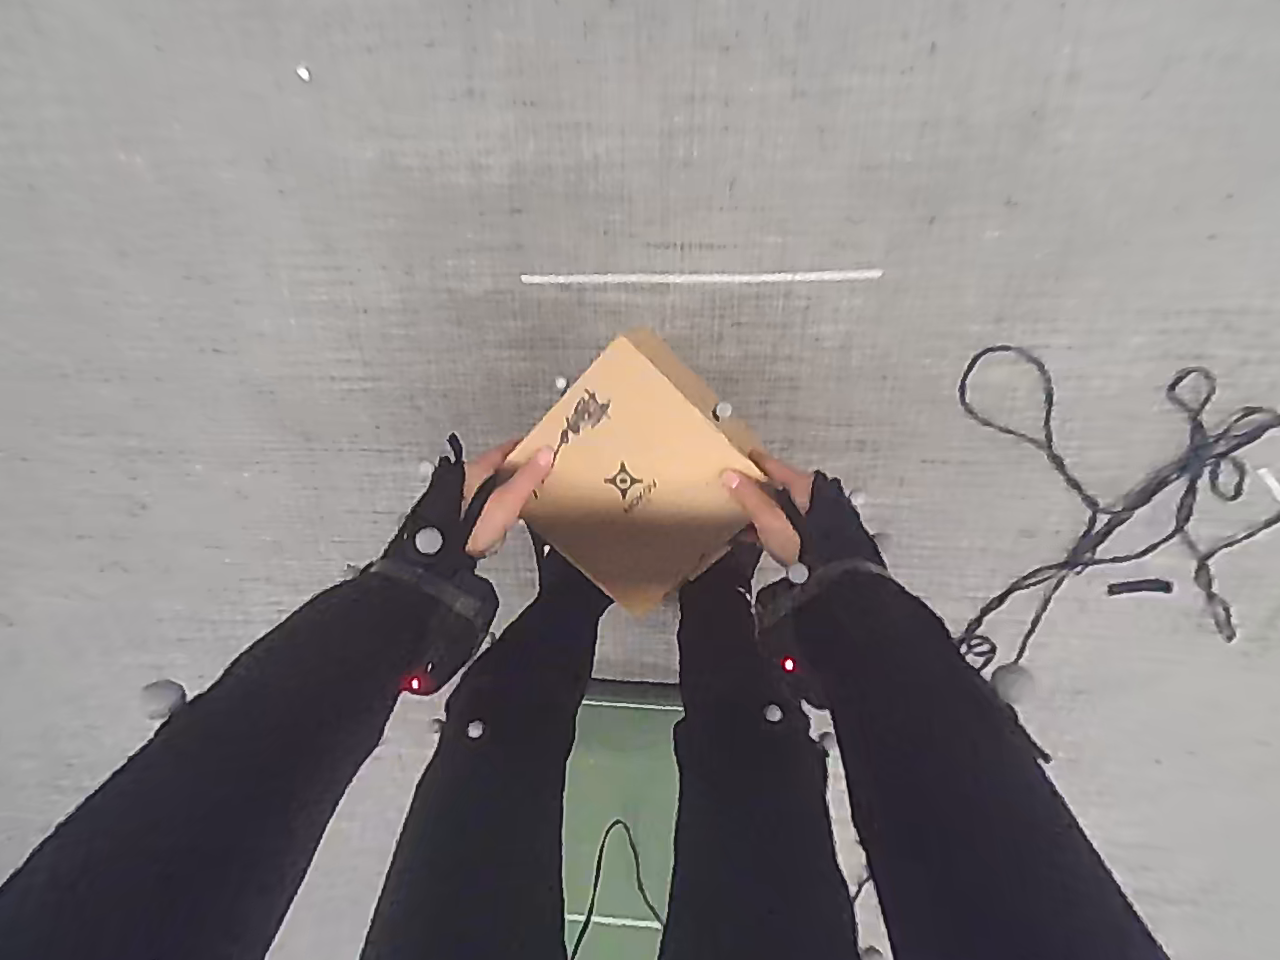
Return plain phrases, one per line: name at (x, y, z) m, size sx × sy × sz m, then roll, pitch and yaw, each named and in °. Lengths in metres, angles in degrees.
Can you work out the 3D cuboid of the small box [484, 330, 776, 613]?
small box at (-0.002, -0.021, 0.499) m, size 0.179 × 0.176 × 0.168 m, roll 44°, pitch 107°, yaw -10°
